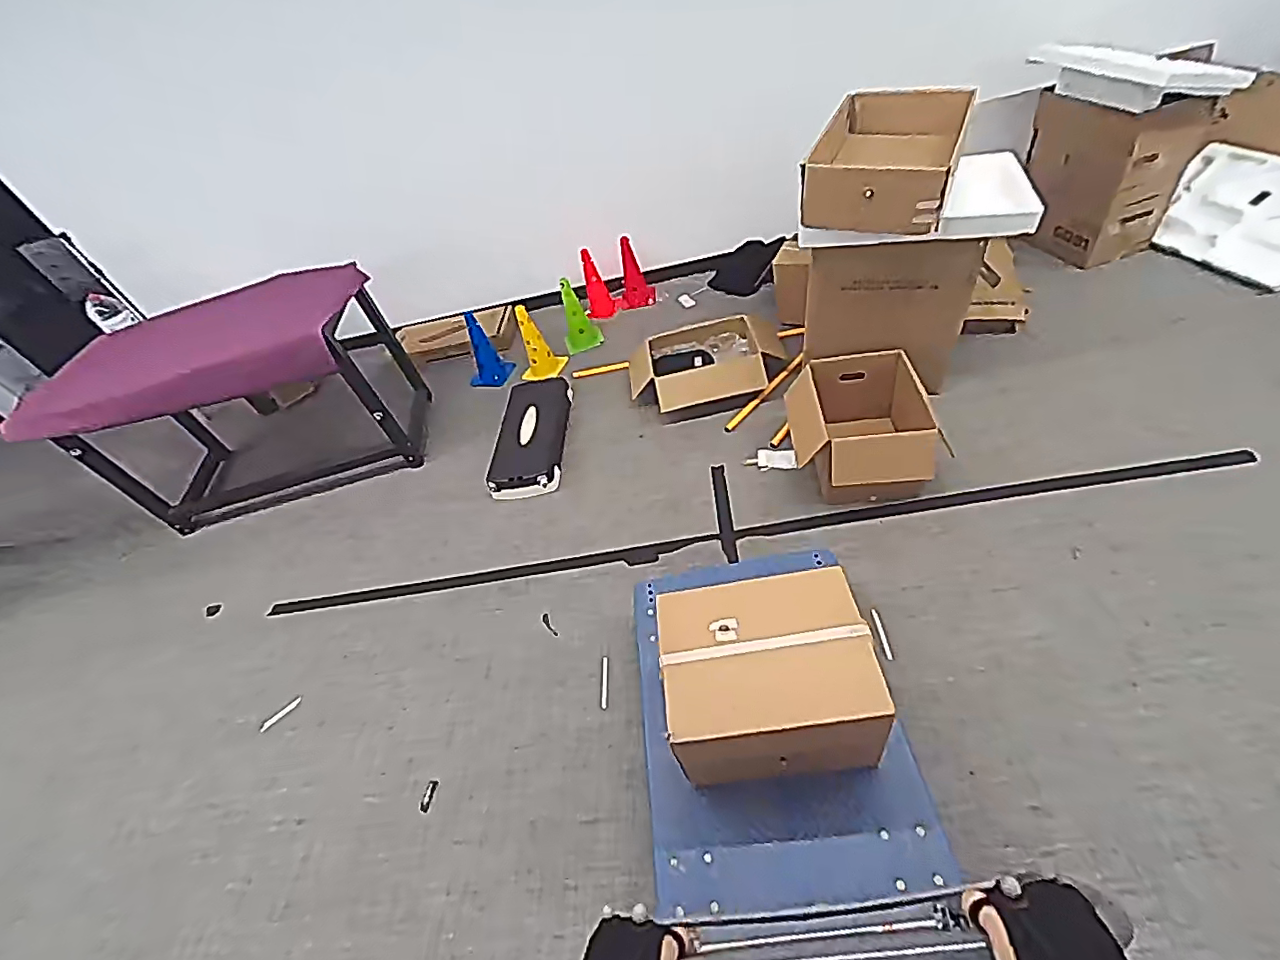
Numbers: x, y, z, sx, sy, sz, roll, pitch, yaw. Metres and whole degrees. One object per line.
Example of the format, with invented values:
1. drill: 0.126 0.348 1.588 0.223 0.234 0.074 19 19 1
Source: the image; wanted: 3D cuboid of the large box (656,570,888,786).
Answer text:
1. large box: 0.272 0.440 1.182 0.408 0.320 0.320 -12 45 7
